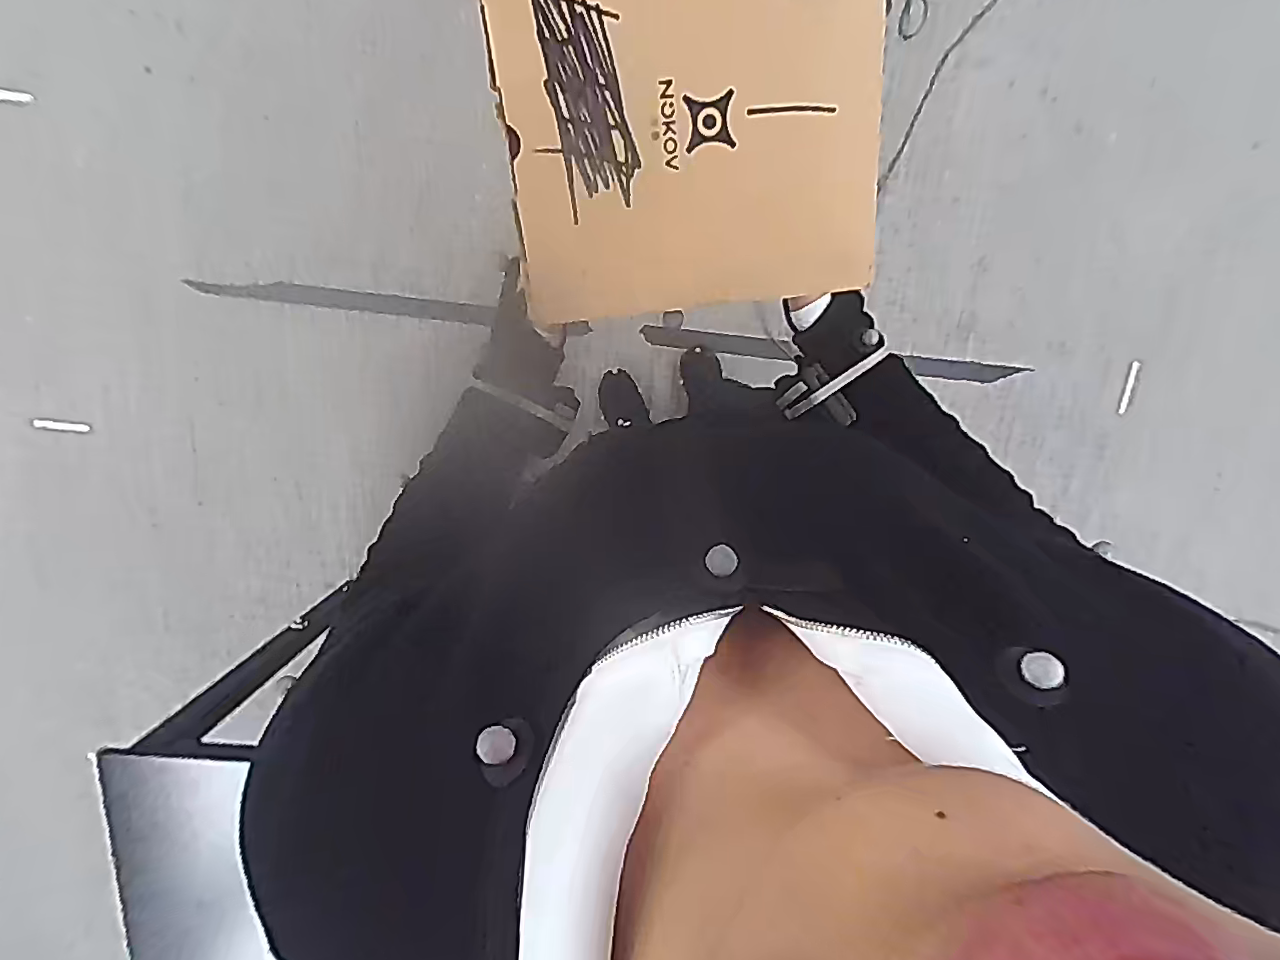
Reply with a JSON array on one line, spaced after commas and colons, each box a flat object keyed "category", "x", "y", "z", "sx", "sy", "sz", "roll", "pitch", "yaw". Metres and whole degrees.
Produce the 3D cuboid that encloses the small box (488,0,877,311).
[{"category": "small box", "x": 0.023, "y": -0.199, "z": 0.332, "sx": 0.179, "sy": 0.176, "sz": 0.168, "roll": -6, "pitch": 112, "yaw": 1}]
